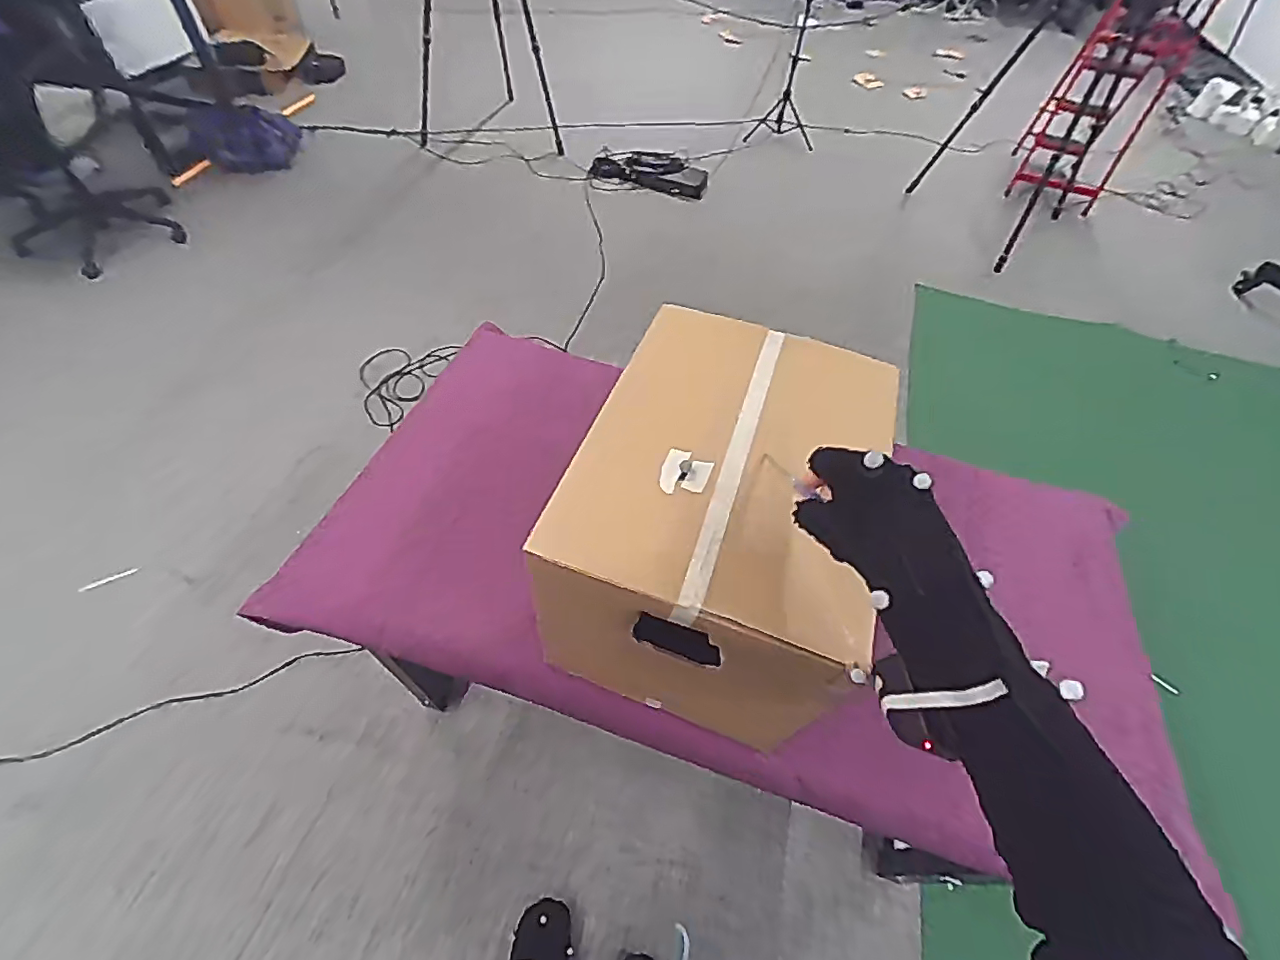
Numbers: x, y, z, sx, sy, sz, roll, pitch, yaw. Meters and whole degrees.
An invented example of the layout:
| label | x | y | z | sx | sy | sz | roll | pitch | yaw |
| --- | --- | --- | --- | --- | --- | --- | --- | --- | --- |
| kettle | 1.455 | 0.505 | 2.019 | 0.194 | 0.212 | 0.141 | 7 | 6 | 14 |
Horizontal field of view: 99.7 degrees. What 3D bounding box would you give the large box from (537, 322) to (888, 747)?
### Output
| label | x | y | z | sx | sy | sz | roll | pitch | yaw |
| --- | --- | --- | --- | --- | --- | --- | --- | --- | --- |
| large box | 0.097 | 0.067 | 0.714 | 0.320 | 0.320 | 0.408 | 18 | 54 | 9 |
